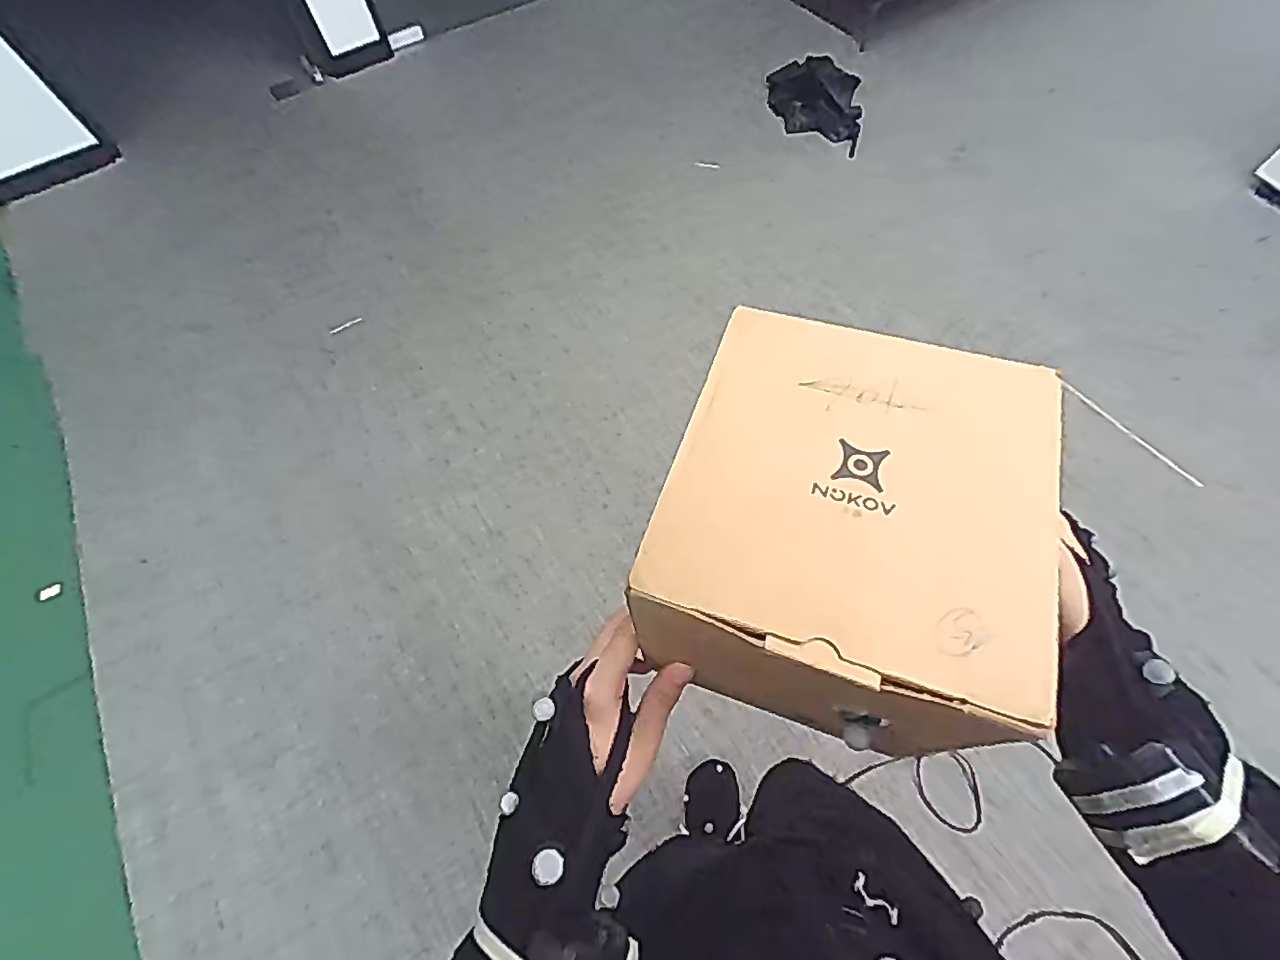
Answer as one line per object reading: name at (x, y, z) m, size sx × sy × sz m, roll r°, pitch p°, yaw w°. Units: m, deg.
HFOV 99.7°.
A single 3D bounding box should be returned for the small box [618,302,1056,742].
small box at (0.101, 0.034, 0.314) m, size 0.168 × 0.176 × 0.179 m, roll 17°, pitch 63°, yaw 12°
